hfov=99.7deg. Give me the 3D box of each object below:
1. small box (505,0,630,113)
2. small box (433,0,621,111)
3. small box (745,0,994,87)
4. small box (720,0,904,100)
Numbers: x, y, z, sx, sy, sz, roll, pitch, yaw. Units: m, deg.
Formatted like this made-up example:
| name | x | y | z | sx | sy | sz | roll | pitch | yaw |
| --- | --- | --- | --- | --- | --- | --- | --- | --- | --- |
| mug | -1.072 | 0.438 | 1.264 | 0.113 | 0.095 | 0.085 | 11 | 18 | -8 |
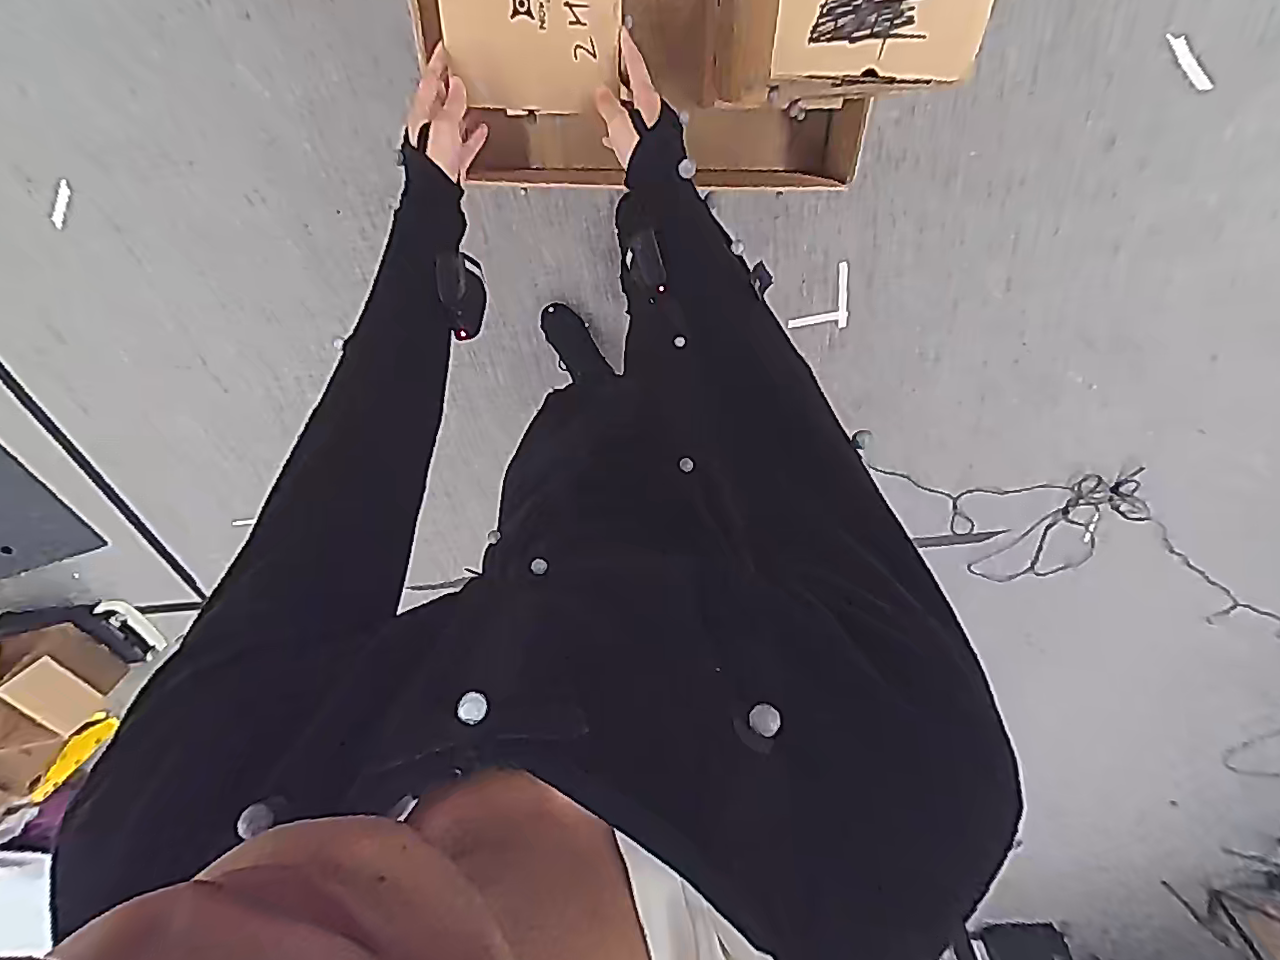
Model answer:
| name | x | y | z | sx | sy | sz | roll | pitch | yaw |
| --- | --- | --- | --- | --- | --- | --- | --- | --- | --- |
| small box | -0.099 | -0.611 | 0.739 | 0.168 | 0.176 | 0.179 | -1 | 124 | 1 |
| small box | -0.109 | -0.493 | 0.566 | 0.179 | 0.176 | 0.168 | 0 | 128 | -4 |
| small box | 0.187 | -0.439 | 0.450 | 0.168 | 0.176 | 0.179 | 2 | 124 | -1 |
| small box | 0.190 | -0.521 | 0.593 | 0.179 | 0.176 | 0.168 | -2 | 124 | 1 |
